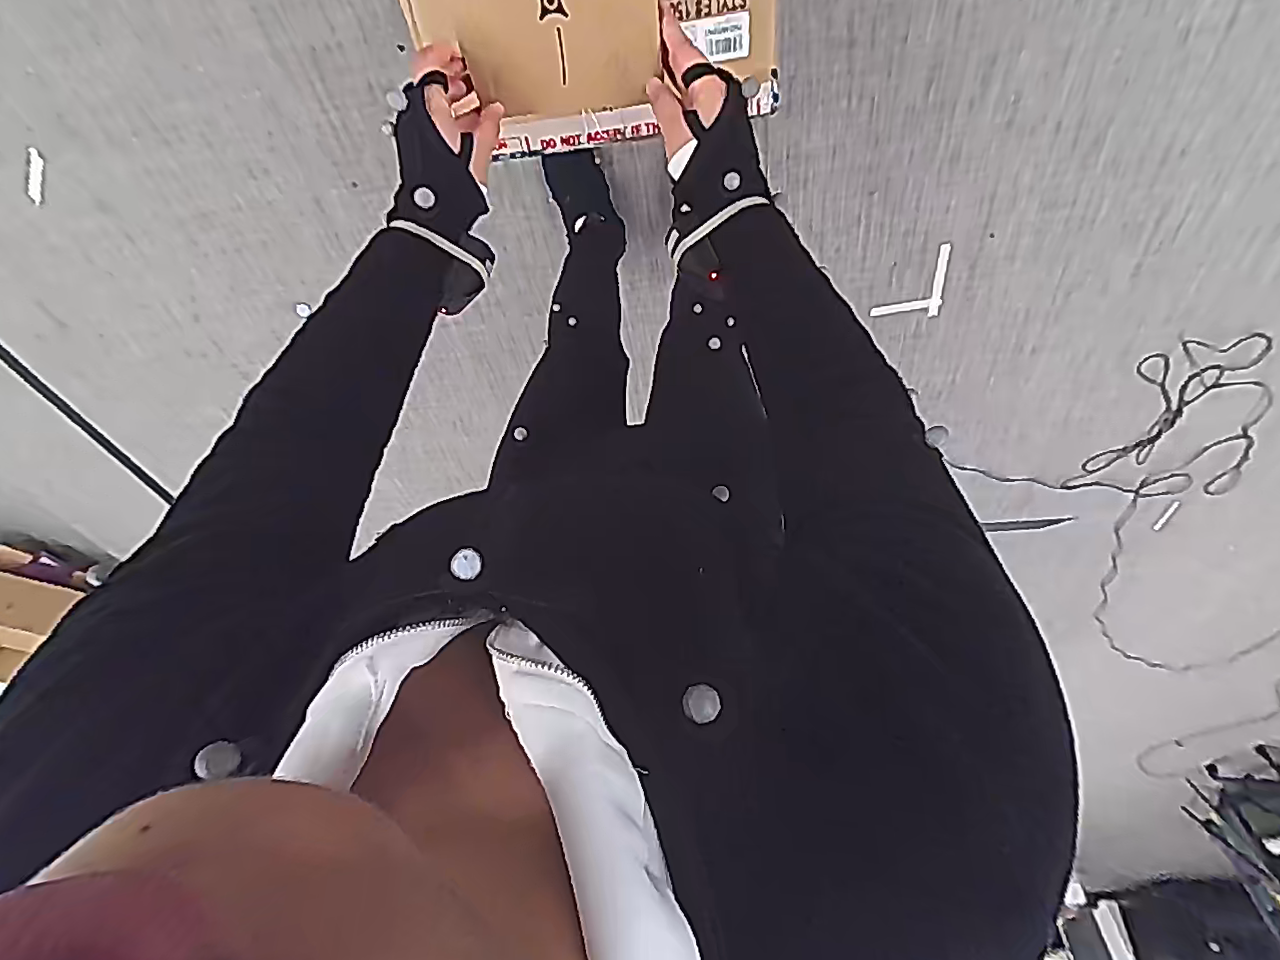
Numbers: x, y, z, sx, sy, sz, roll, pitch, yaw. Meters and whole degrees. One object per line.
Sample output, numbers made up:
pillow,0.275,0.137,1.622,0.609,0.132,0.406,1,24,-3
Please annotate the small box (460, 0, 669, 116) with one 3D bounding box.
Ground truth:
small box,-0.061,-0.450,0.475,0.168,0.176,0.179,-2,138,6
